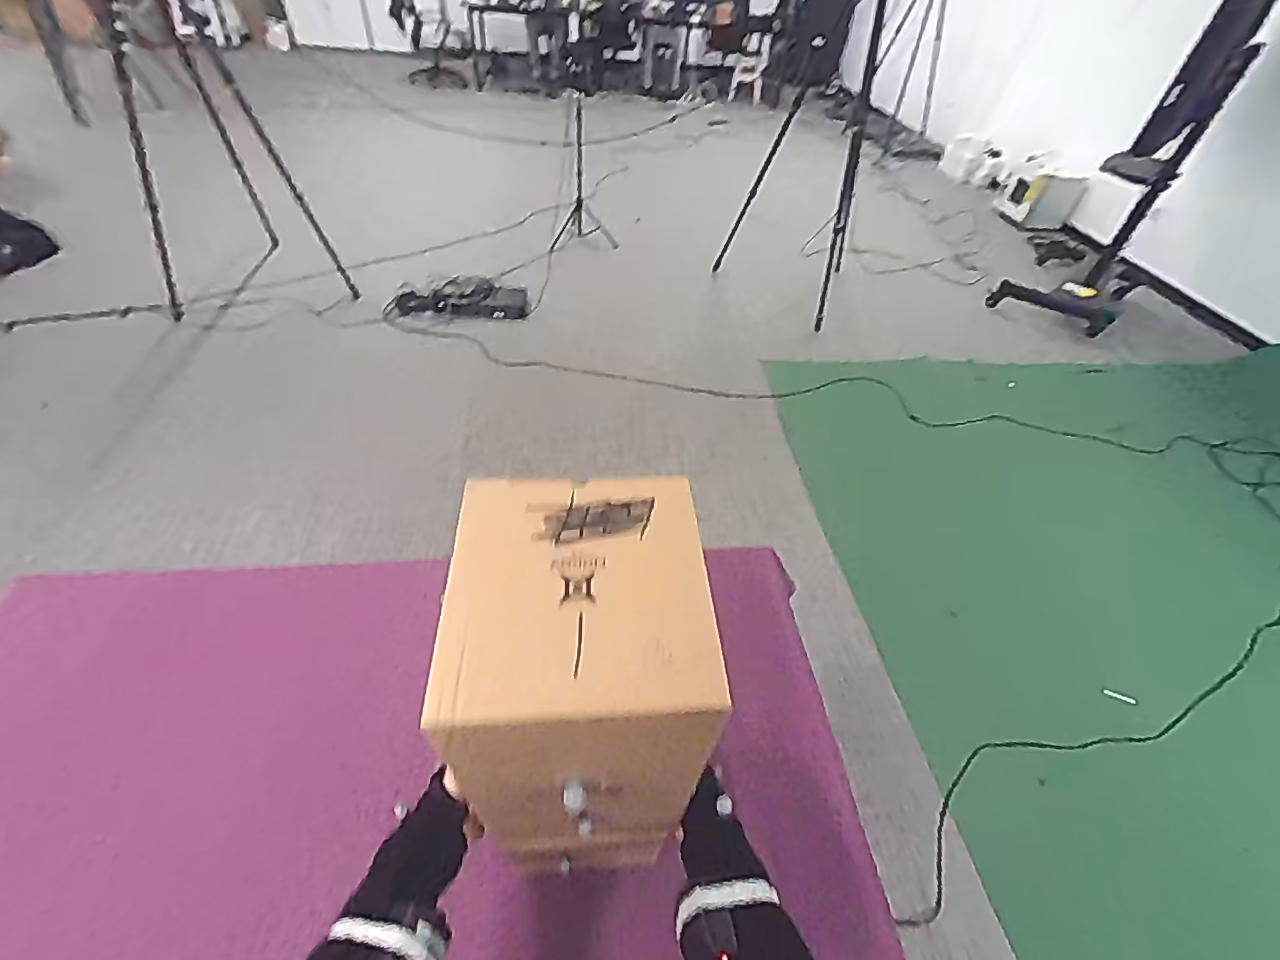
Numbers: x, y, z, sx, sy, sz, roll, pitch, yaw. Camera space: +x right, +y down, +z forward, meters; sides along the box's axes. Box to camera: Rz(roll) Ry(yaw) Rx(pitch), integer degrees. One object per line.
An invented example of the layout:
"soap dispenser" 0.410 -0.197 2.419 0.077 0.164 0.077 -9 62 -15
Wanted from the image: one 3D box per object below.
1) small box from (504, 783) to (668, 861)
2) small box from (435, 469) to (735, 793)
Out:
"small box" -0.060 0.337 0.644 0.168 0.176 0.179 0 46 -6
"small box" -0.039 0.110 0.405 0.168 0.176 0.179 -1 47 -6
